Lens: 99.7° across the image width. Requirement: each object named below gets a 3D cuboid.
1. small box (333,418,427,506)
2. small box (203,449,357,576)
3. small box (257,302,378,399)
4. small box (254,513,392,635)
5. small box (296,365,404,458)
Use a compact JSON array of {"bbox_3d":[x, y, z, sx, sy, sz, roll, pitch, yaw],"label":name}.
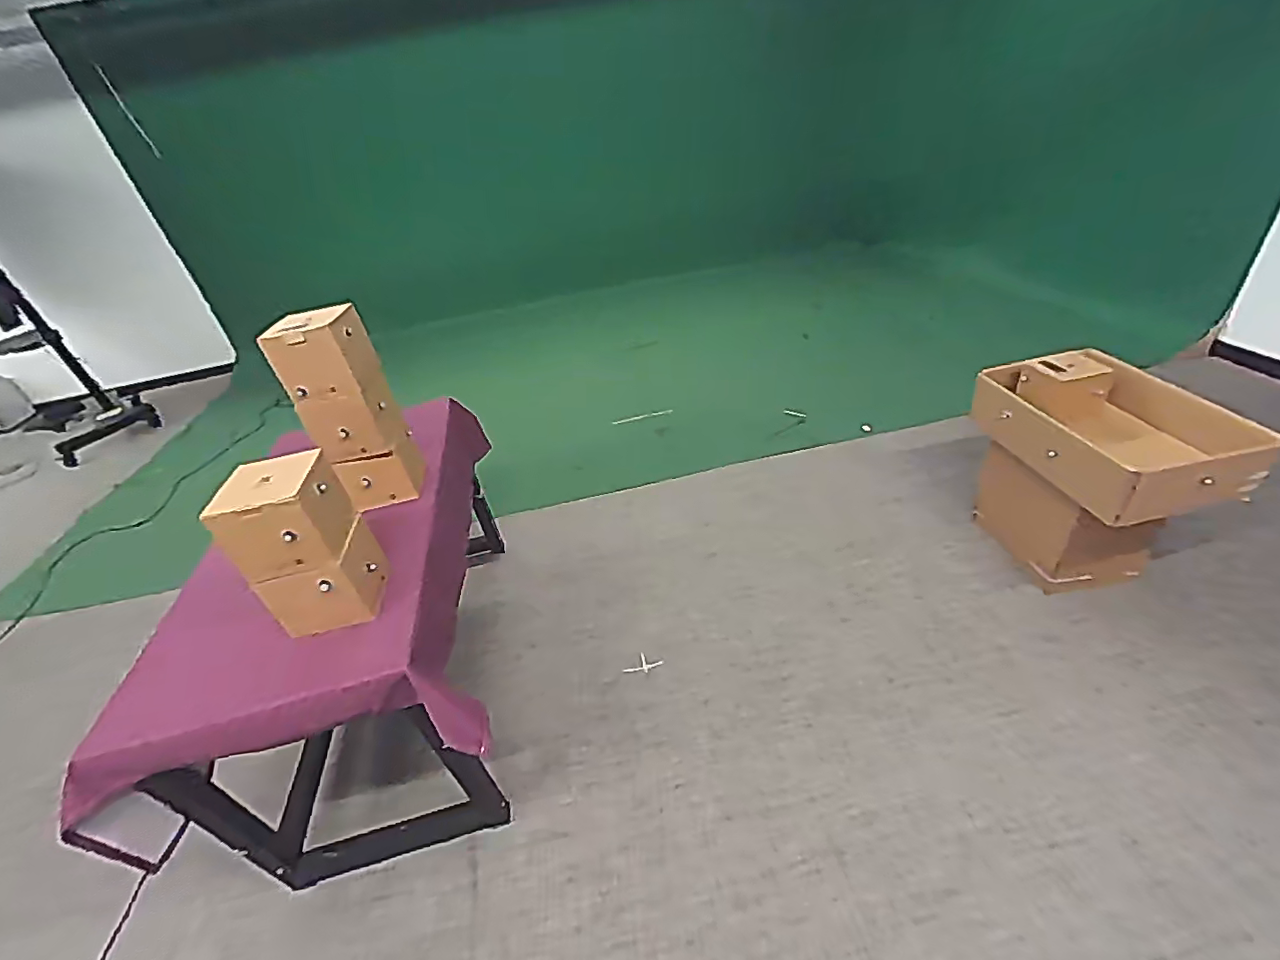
[{"bbox_3d":[-0.709,-0.044,1.495,0.168,0.176,0.179,-14,36,-3],"label":"small box"},{"bbox_3d":[-0.685,0.067,1.057,0.168,0.176,0.179,-13,35,-4],"label":"small box"},{"bbox_3d":[-0.762,-0.307,1.304,0.168,0.176,0.179,-12,35,0],"label":"small box"},{"bbox_3d":[-0.656,0.200,1.148,0.179,0.176,0.168,-13,35,-2],"label":"small box"},{"bbox_3d":[-0.735,-0.170,1.393,0.168,0.176,0.179,-12,36,0],"label":"small box"}]
